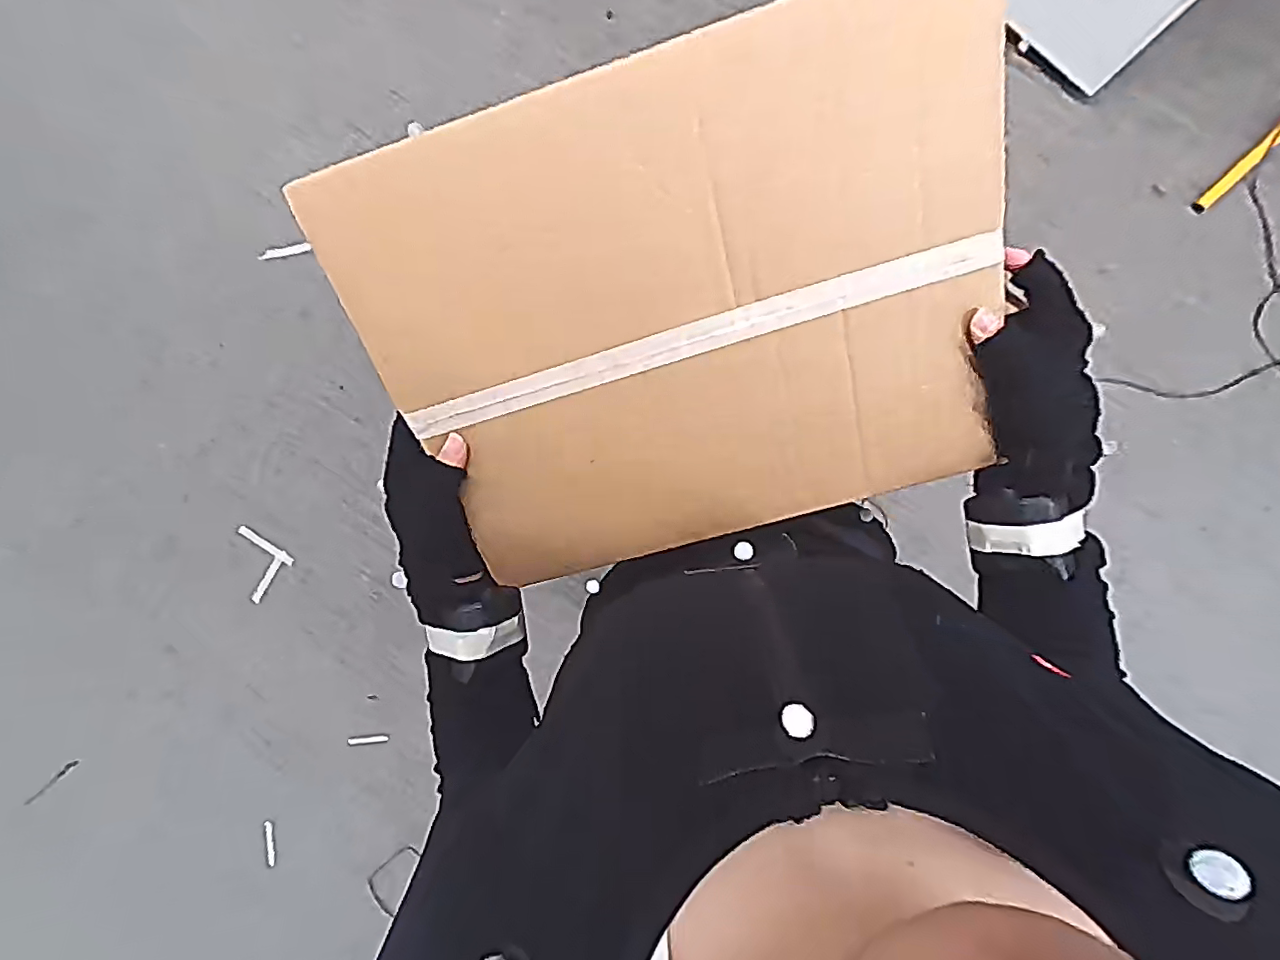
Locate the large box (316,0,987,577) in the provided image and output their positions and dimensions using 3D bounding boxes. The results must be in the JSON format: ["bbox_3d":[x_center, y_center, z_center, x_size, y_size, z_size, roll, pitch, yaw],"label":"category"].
[{"bbox_3d":[0.027,-0.167,0.503,0.408,0.320,0.320,-16,118,7],"label":"large box"}]
